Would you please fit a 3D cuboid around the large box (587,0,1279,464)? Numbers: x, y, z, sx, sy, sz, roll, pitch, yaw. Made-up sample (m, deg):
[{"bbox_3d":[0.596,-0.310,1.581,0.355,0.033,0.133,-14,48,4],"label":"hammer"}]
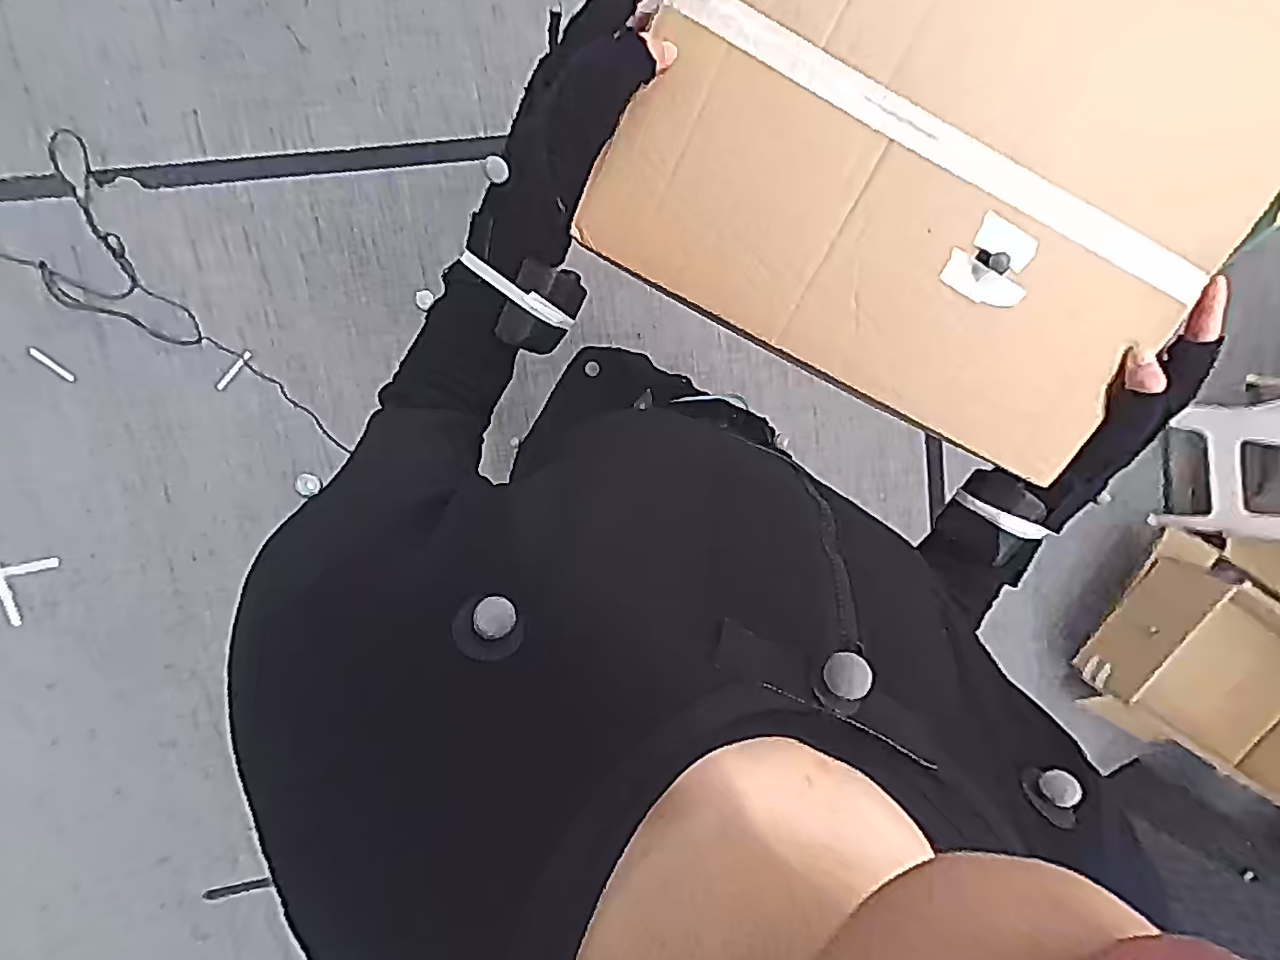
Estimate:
[{"bbox_3d":[0.206,-0.269,0.505,0.408,0.320,0.320,26,108,-6],"label":"large box"}]
